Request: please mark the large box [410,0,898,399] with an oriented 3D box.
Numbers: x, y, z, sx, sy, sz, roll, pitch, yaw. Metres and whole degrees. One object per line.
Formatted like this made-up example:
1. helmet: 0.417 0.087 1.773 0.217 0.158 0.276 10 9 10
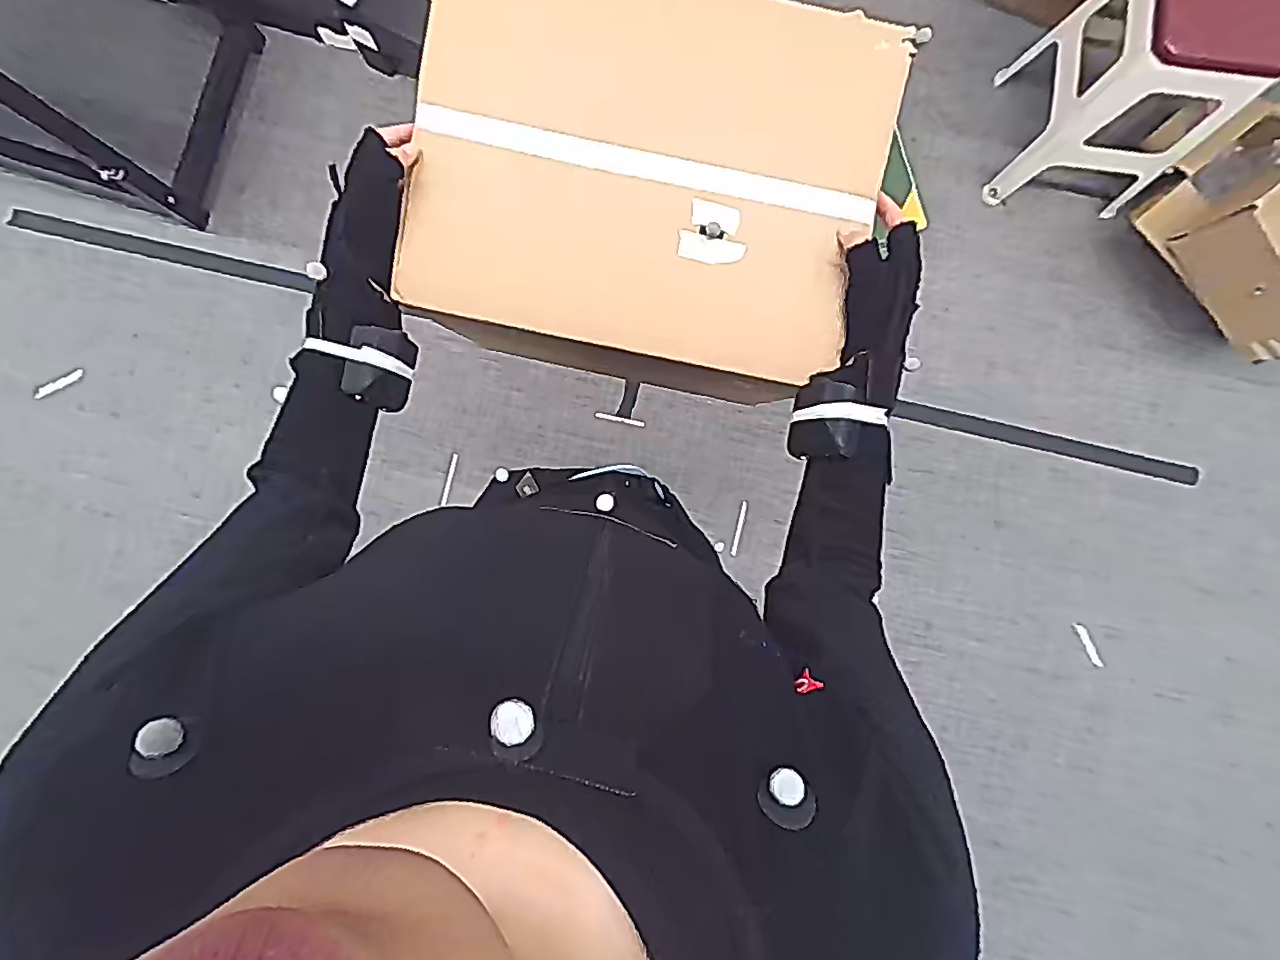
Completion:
1. large box: 0.005 -0.289 0.636 0.408 0.320 0.320 11 96 -2
